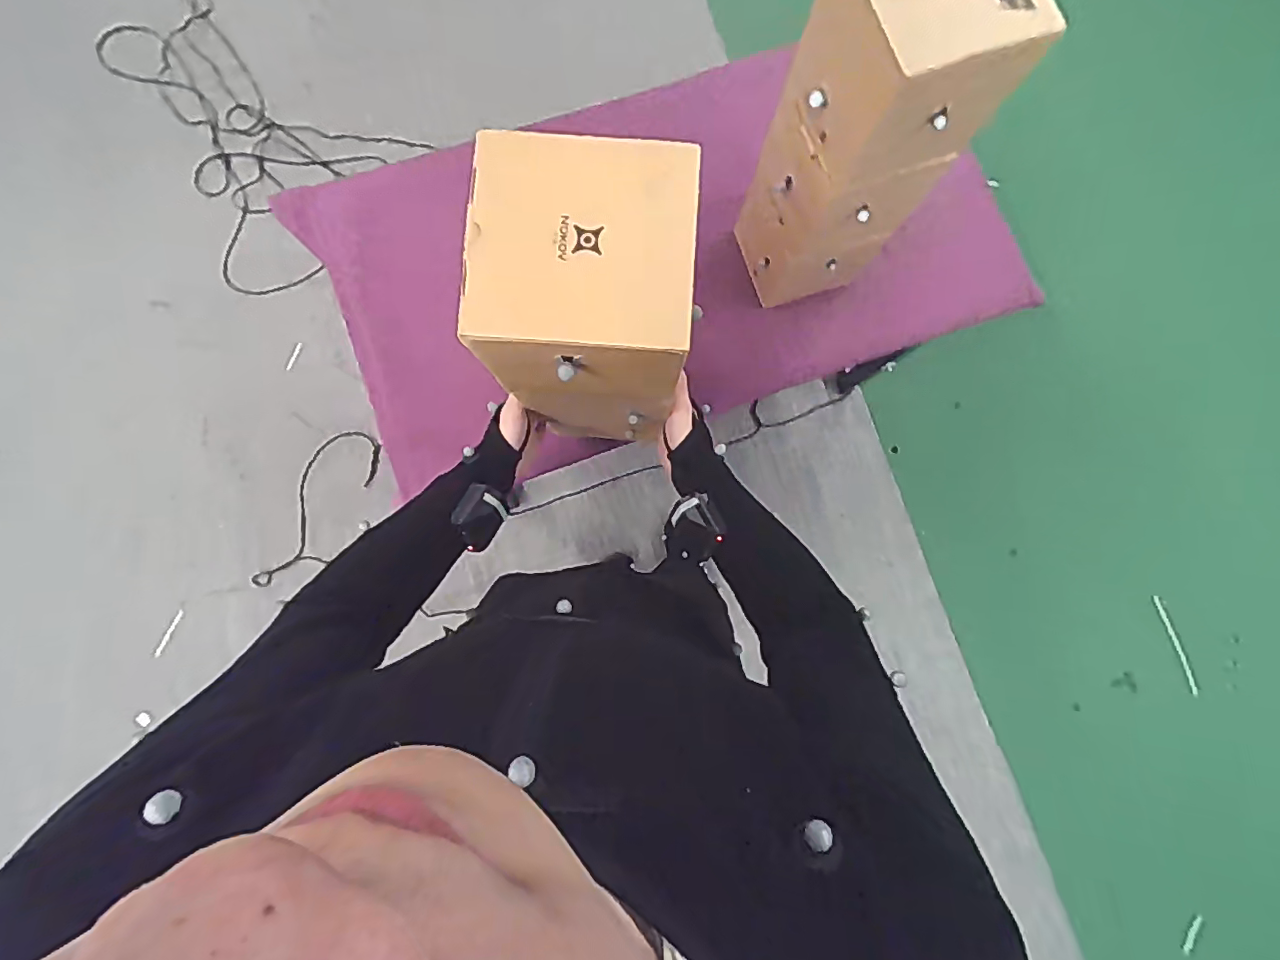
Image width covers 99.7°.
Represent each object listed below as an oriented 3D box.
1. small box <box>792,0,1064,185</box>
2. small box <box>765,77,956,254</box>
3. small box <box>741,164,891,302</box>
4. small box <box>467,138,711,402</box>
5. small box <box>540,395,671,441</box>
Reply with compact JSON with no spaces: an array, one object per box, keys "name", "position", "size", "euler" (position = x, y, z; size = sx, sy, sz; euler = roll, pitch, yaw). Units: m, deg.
[{"name":"small box","position":[0.296,-0.469,0.596],"size":[0.179,0.176,0.168],"euler":[-20,85,-4]},{"name":"small box","position":[0.289,-0.449,0.760],"size":[0.179,0.176,0.168],"euler":[-19,86,-3]},{"name":"small box","position":[0.283,-0.428,0.921],"size":[0.179,0.176,0.168],"euler":[-18,85,-4]},{"name":"small box","position":[-0.037,-0.169,0.488],"size":[0.179,0.176,0.168],"euler":[4,86,1]},{"name":"small box","position":[-0.041,-0.156,0.814],"size":[0.179,0.176,0.168],"euler":[6,85,1]}]
